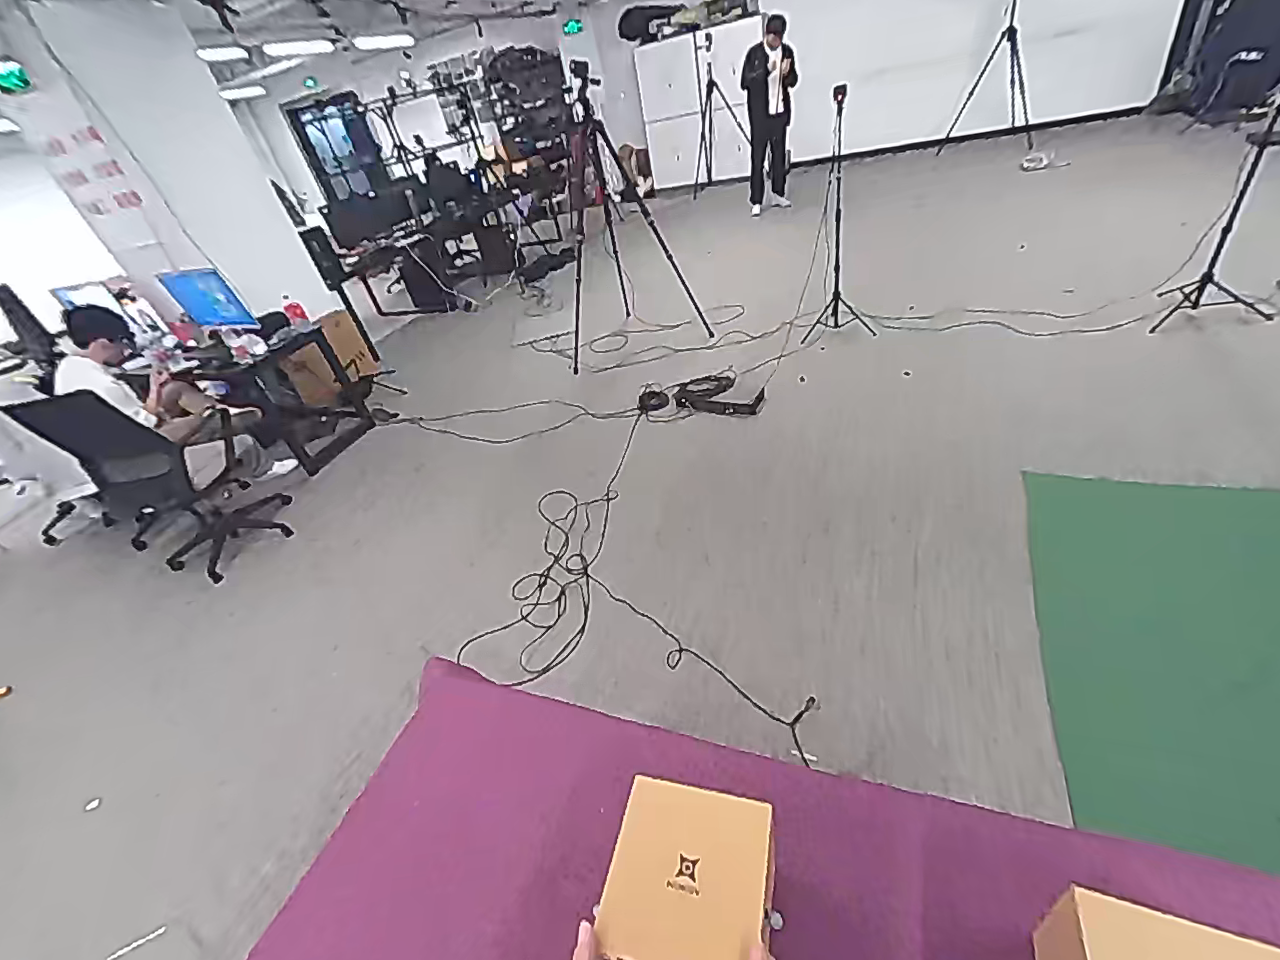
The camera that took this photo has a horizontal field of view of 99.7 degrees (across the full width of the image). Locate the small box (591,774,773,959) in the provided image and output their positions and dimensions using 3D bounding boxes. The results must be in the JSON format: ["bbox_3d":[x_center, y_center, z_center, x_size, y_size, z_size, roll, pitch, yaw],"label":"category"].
[{"bbox_3d":[0.060,0.479,0.619,0.168,0.176,0.179,3,39,17],"label":"small box"}]

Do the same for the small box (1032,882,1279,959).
[{"bbox_3d":[0.468,0.508,0.475,0.168,0.176,0.179,5,41,25],"label":"small box"}]
